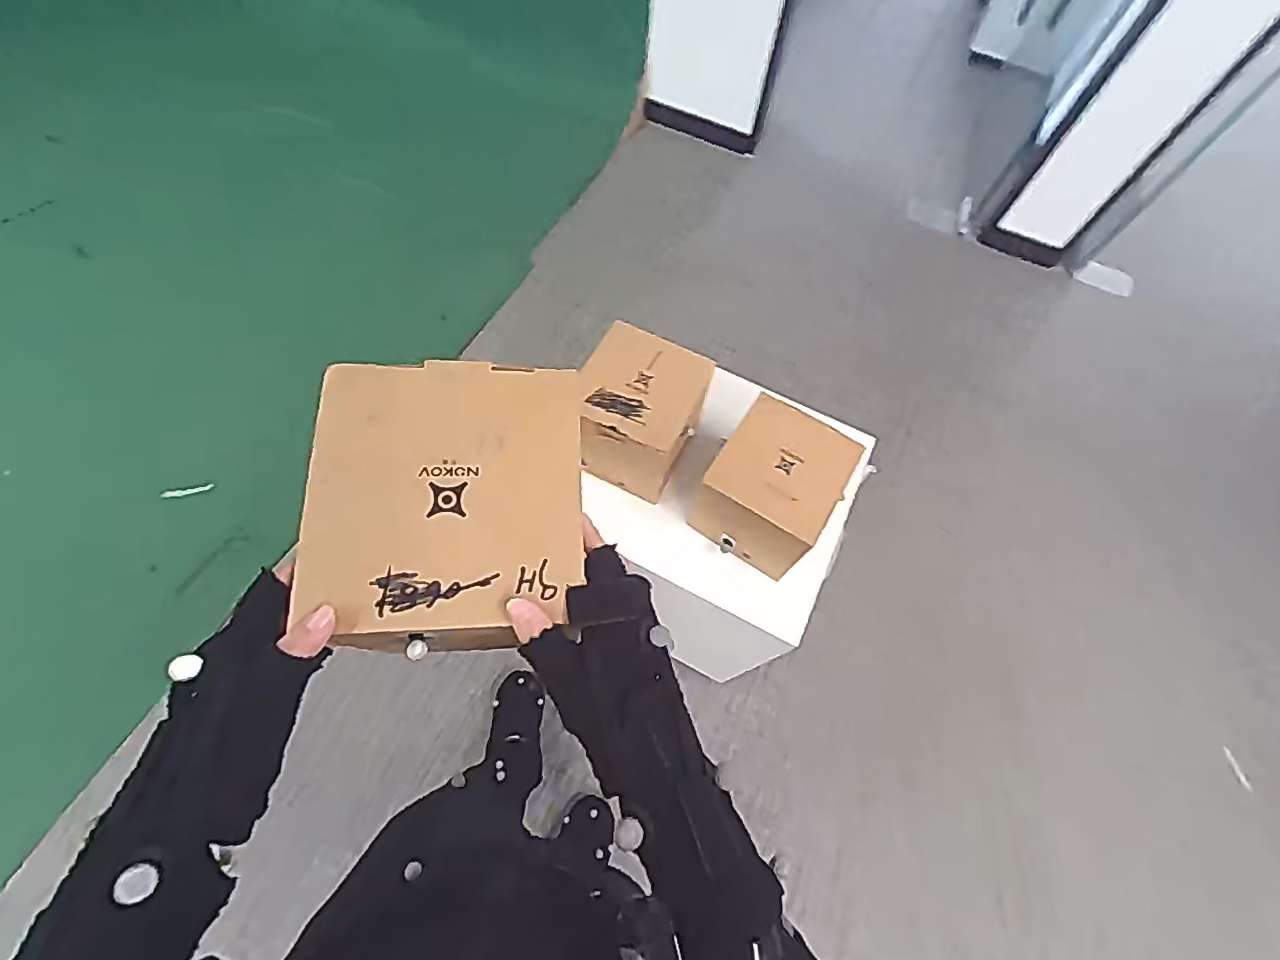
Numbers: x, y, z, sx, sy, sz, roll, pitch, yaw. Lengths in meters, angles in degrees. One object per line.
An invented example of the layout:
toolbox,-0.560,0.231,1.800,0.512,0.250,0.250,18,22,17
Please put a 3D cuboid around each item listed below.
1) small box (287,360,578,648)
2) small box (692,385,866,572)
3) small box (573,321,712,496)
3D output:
small box,-0.136,0.028,0.421,0.168,0.176,0.179,-1,68,-9
small box,0.188,0.004,0.783,0.168,0.176,0.179,31,68,12
small box,-0.007,-0.103,0.837,0.168,0.176,0.179,26,64,8
